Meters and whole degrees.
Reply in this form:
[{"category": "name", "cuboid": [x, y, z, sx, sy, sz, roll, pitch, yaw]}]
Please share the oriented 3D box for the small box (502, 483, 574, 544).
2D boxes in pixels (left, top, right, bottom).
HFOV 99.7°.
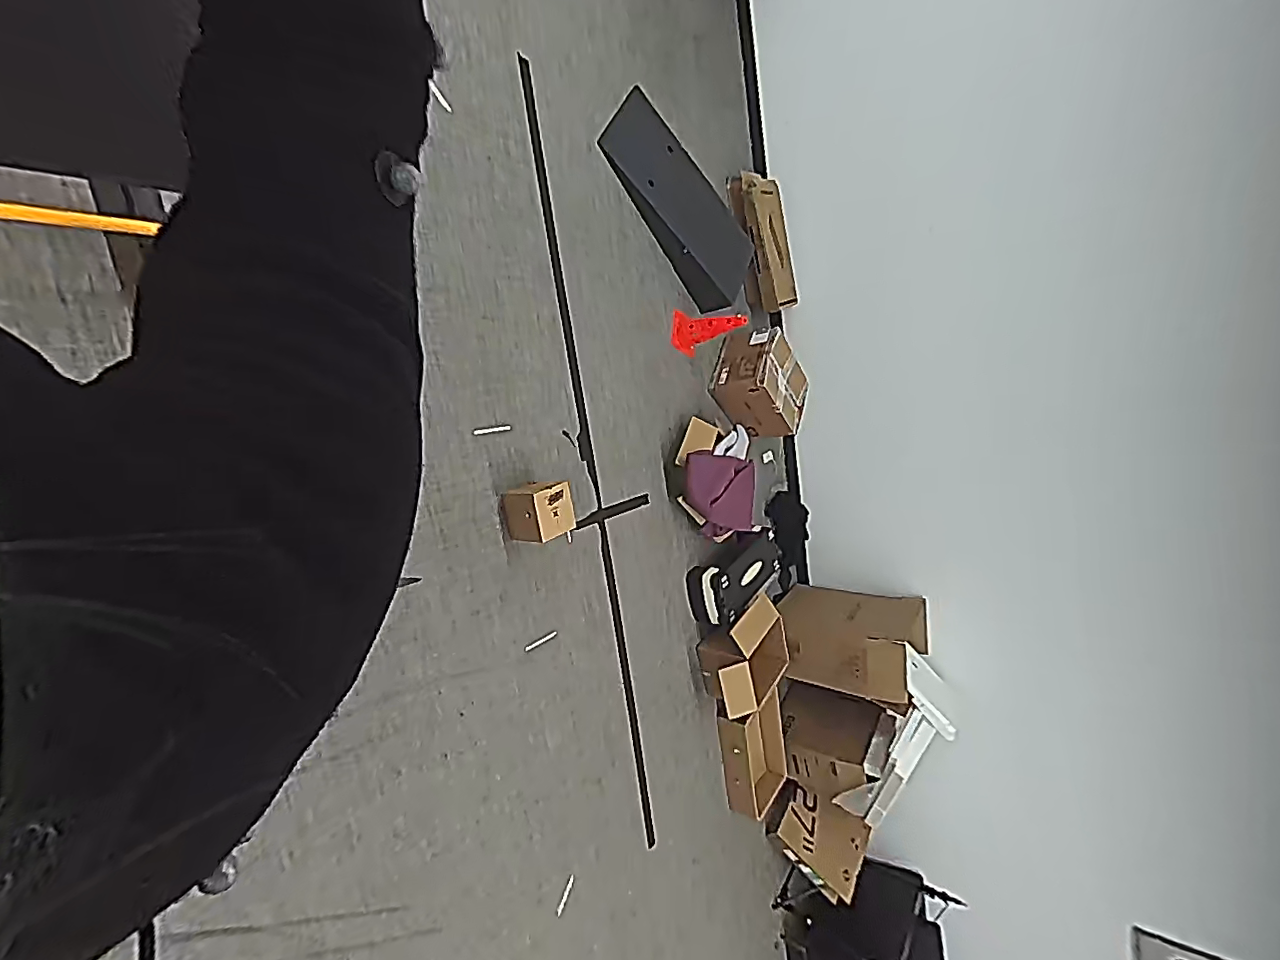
[{"category": "small box", "cuboid": [-0.361, 0.114, 1.900, 0.168, 0.176, 0.179, -23, 107, -49]}]
